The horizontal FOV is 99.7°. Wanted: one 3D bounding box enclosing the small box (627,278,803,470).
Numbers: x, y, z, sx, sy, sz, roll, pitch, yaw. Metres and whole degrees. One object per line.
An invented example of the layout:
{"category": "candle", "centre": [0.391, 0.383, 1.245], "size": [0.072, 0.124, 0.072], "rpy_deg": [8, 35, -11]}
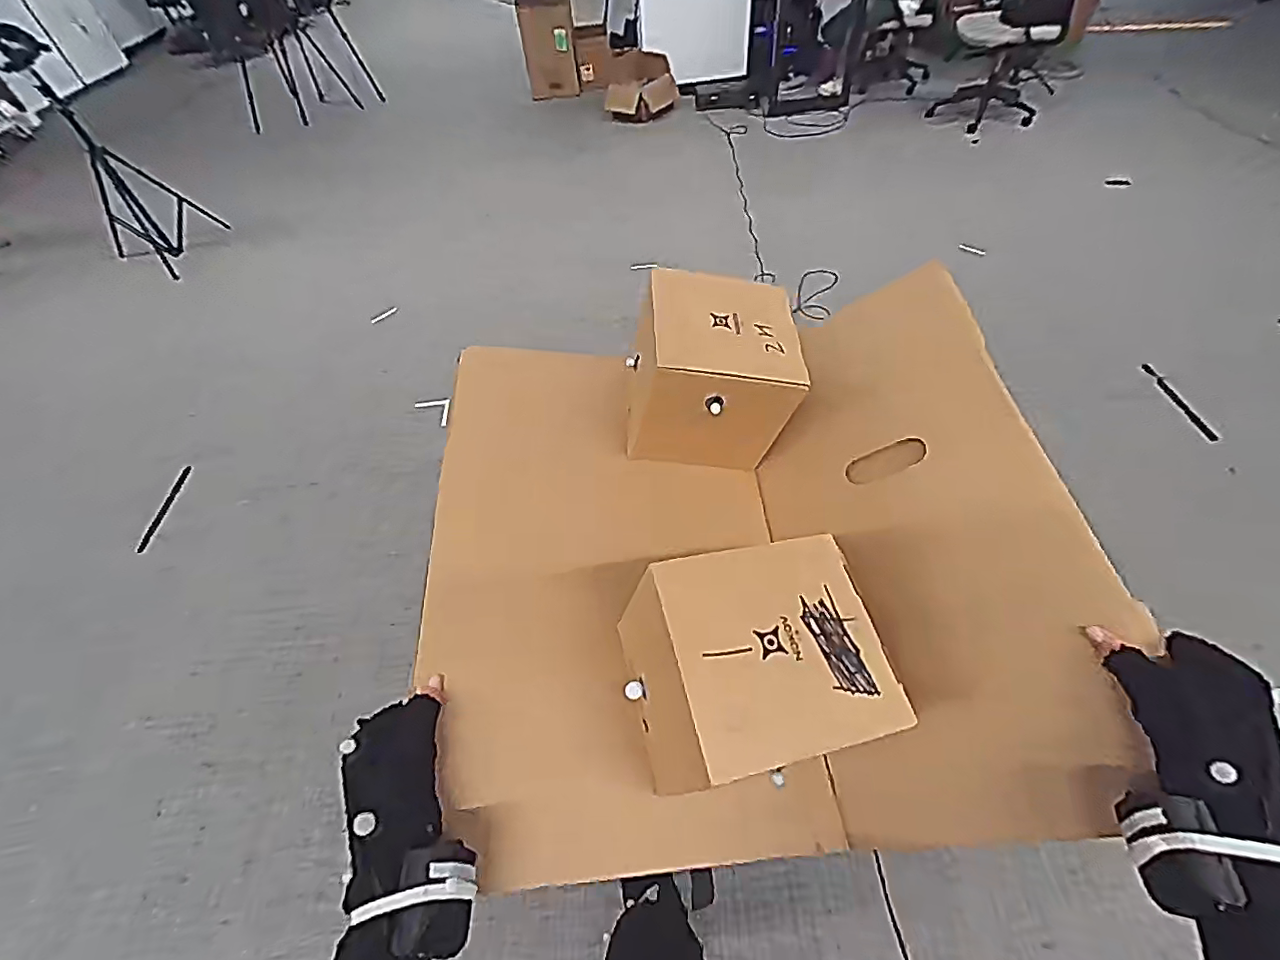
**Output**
{"category": "small box", "centre": [0.080, -0.128, 0.694], "size": [0.179, 0.176, 0.168], "rpy_deg": [6, 57, -11]}

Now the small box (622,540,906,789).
{"category": "small box", "centre": [0.094, 0.173, 0.503], "size": [0.179, 0.176, 0.168], "rpy_deg": [-7, 60, -16]}
